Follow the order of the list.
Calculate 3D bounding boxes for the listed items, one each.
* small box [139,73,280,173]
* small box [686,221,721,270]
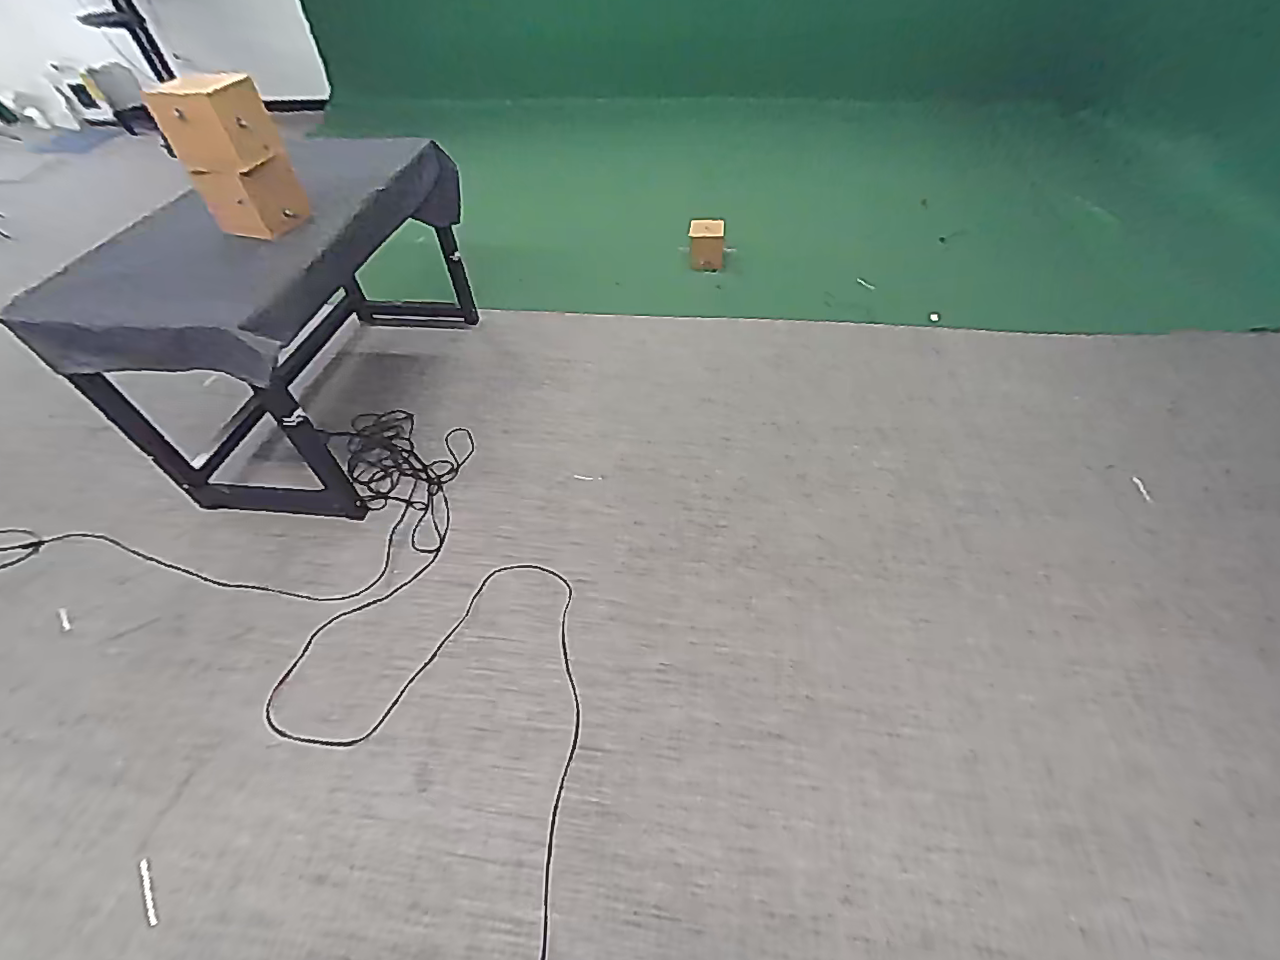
[{"bbox_3d":[-1.043,-0.876,1.332,0.179,0.176,0.168,6,50,8],"label":"small box"},{"bbox_3d":[0.319,-1.181,2.719,0.168,0.176,0.179,3,50,6],"label":"small box"}]
